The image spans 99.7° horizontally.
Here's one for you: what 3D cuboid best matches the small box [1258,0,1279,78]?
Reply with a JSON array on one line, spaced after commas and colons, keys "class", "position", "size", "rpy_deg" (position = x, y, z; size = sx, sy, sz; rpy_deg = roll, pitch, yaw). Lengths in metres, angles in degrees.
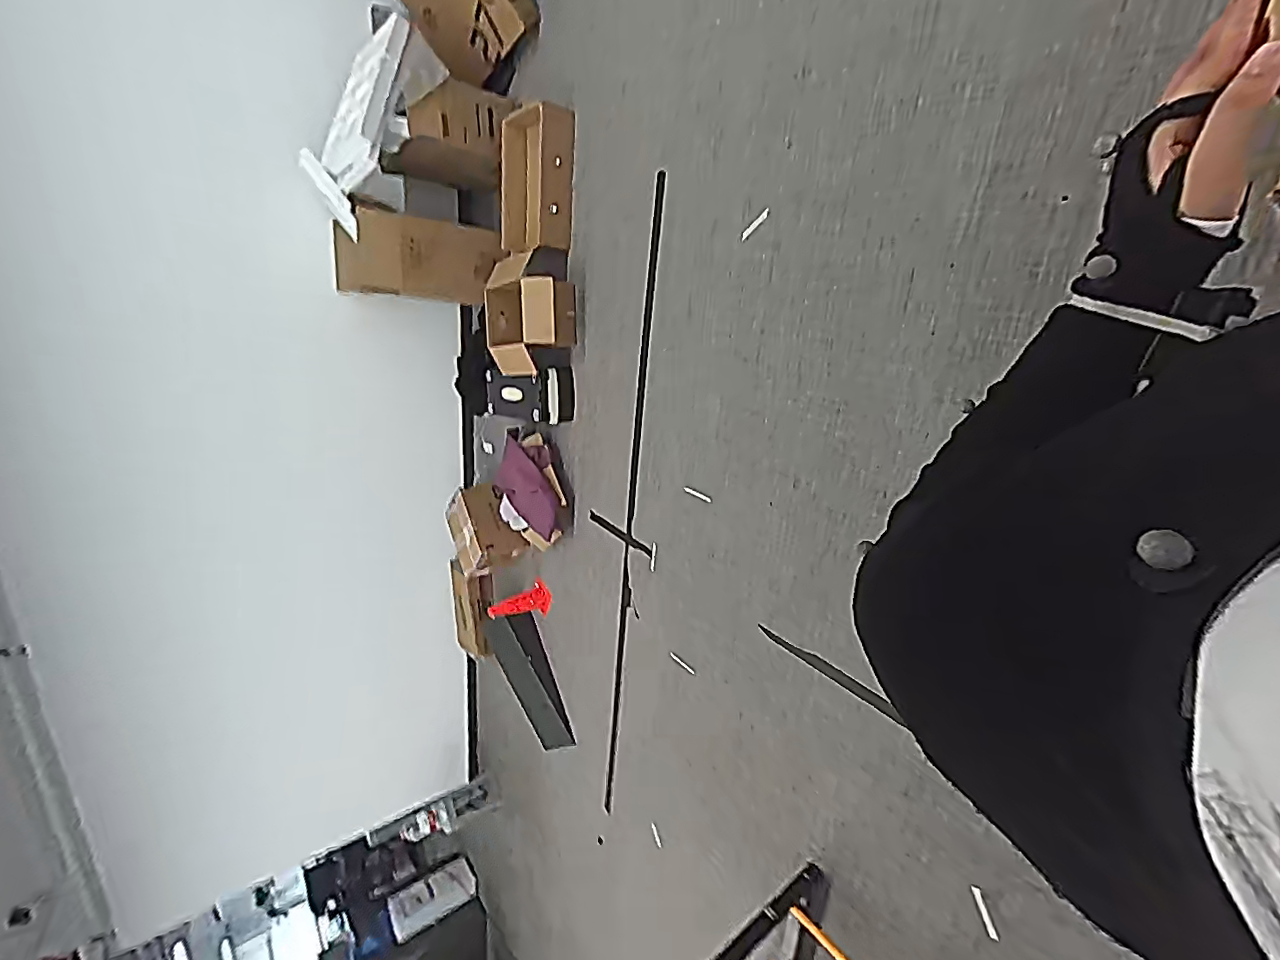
[{"class": "small box", "position": [0.419, -0.318, 0.250], "size": [0.168, 0.176, 0.179], "rpy_deg": [4, 110, 51]}]
